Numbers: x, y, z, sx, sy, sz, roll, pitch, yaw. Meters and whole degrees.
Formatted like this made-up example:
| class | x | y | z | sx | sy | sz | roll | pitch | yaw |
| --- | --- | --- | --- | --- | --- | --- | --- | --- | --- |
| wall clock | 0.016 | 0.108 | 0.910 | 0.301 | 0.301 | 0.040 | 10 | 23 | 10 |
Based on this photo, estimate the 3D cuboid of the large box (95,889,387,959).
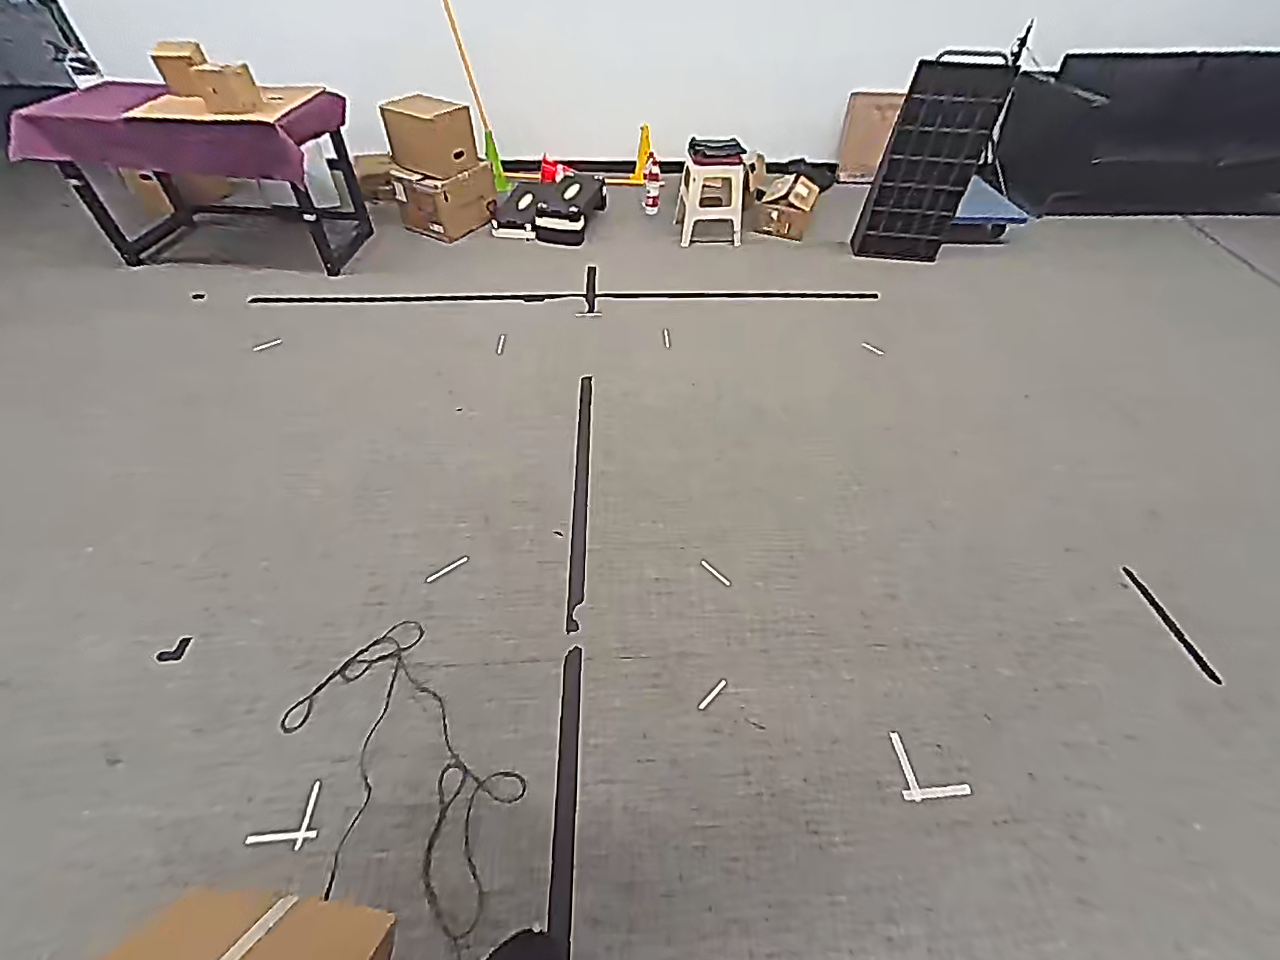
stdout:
| class | x | y | z | sx | sy | sz | roll | pitch | yaw |
| --- | --- | --- | --- | --- | --- | --- | --- | --- | --- |
| large box | -0.534 | 0.745 | 0.579 | 0.320 | 0.408 | 0.320 | 7 | 83 | 0 |
